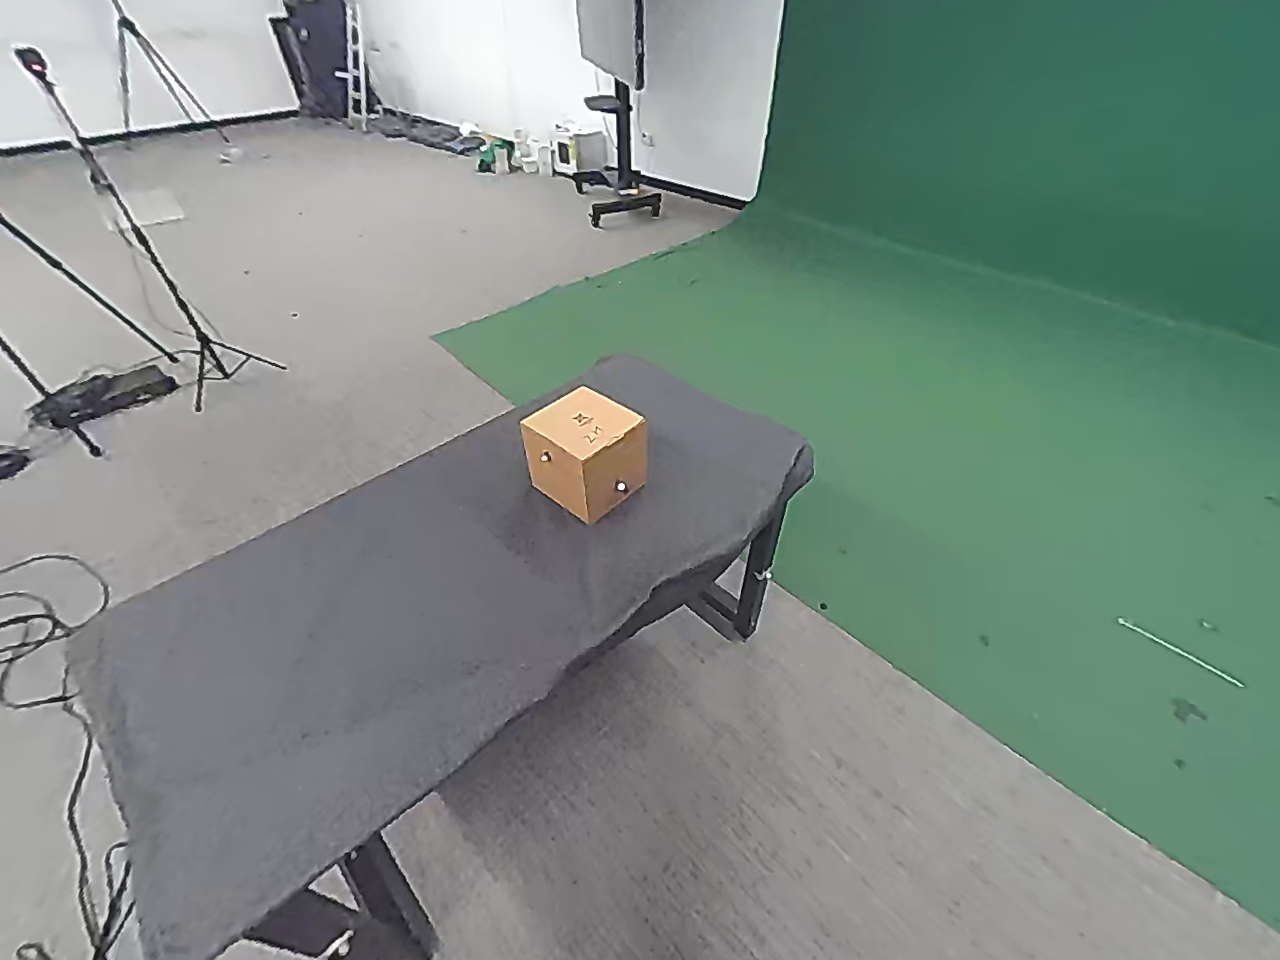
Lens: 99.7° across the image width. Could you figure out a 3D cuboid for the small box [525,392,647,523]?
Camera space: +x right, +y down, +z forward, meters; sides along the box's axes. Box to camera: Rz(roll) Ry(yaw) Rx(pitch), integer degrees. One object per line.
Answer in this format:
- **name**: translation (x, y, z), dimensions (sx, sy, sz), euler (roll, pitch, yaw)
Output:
- **small box**: translation (-0.103, -0.044, 1.078), dimensions (0.179, 0.176, 0.168), euler (32, 52, 30)
